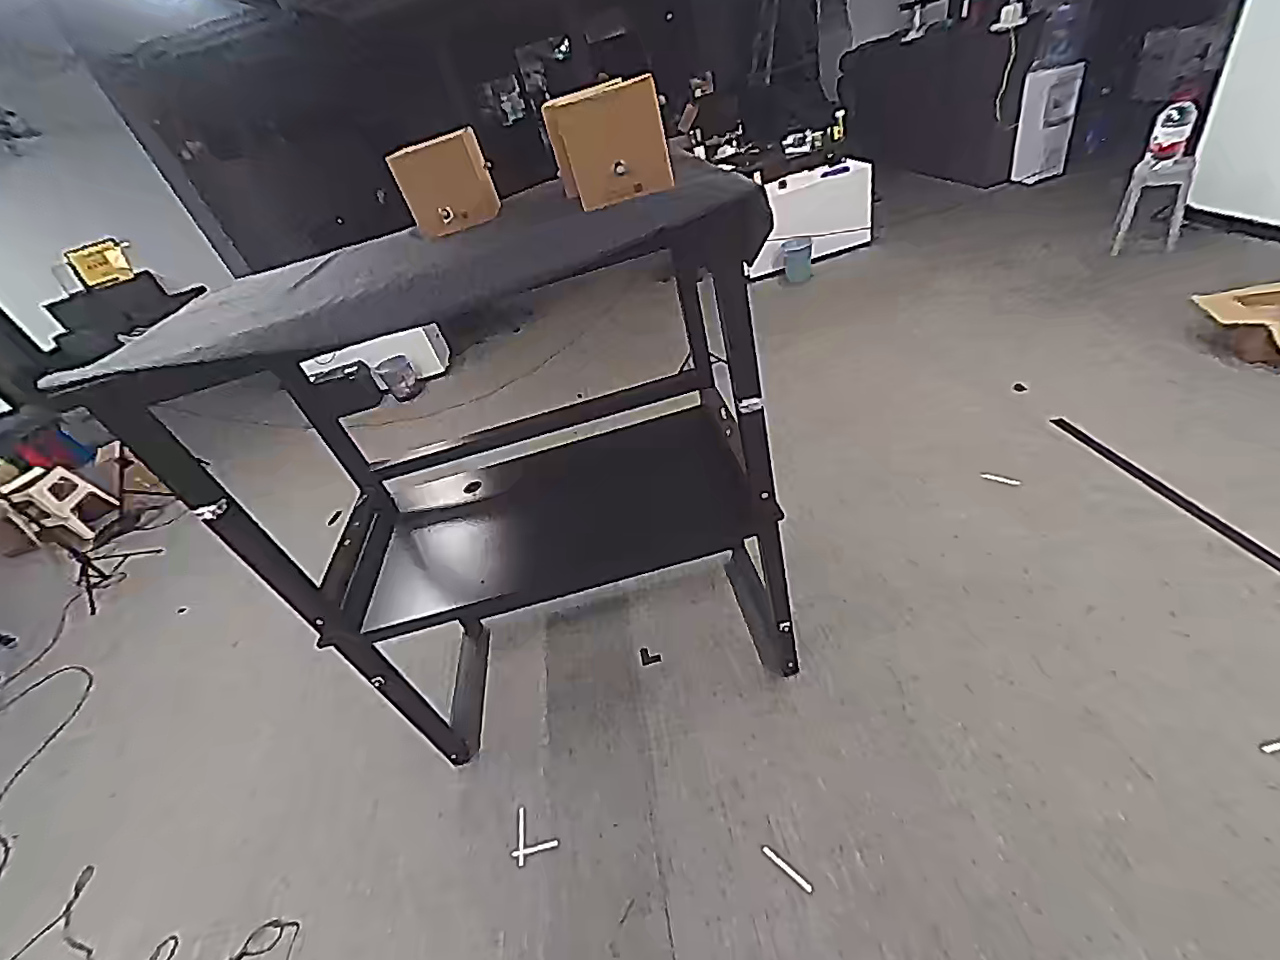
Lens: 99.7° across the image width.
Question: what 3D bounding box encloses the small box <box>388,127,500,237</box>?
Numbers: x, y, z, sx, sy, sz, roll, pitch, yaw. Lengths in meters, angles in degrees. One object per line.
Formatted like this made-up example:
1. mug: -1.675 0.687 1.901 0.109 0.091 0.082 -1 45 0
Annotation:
1. small box: -0.421 -0.657 1.196 0.168 0.176 0.179 -17 37 3

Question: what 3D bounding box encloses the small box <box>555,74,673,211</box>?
1. small box: -0.039 -0.604 0.974 0.168 0.176 0.179 -12 37 8

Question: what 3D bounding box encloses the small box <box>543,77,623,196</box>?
1. small box: -0.093 -0.721 1.143 0.168 0.176 0.179 -13 39 7
